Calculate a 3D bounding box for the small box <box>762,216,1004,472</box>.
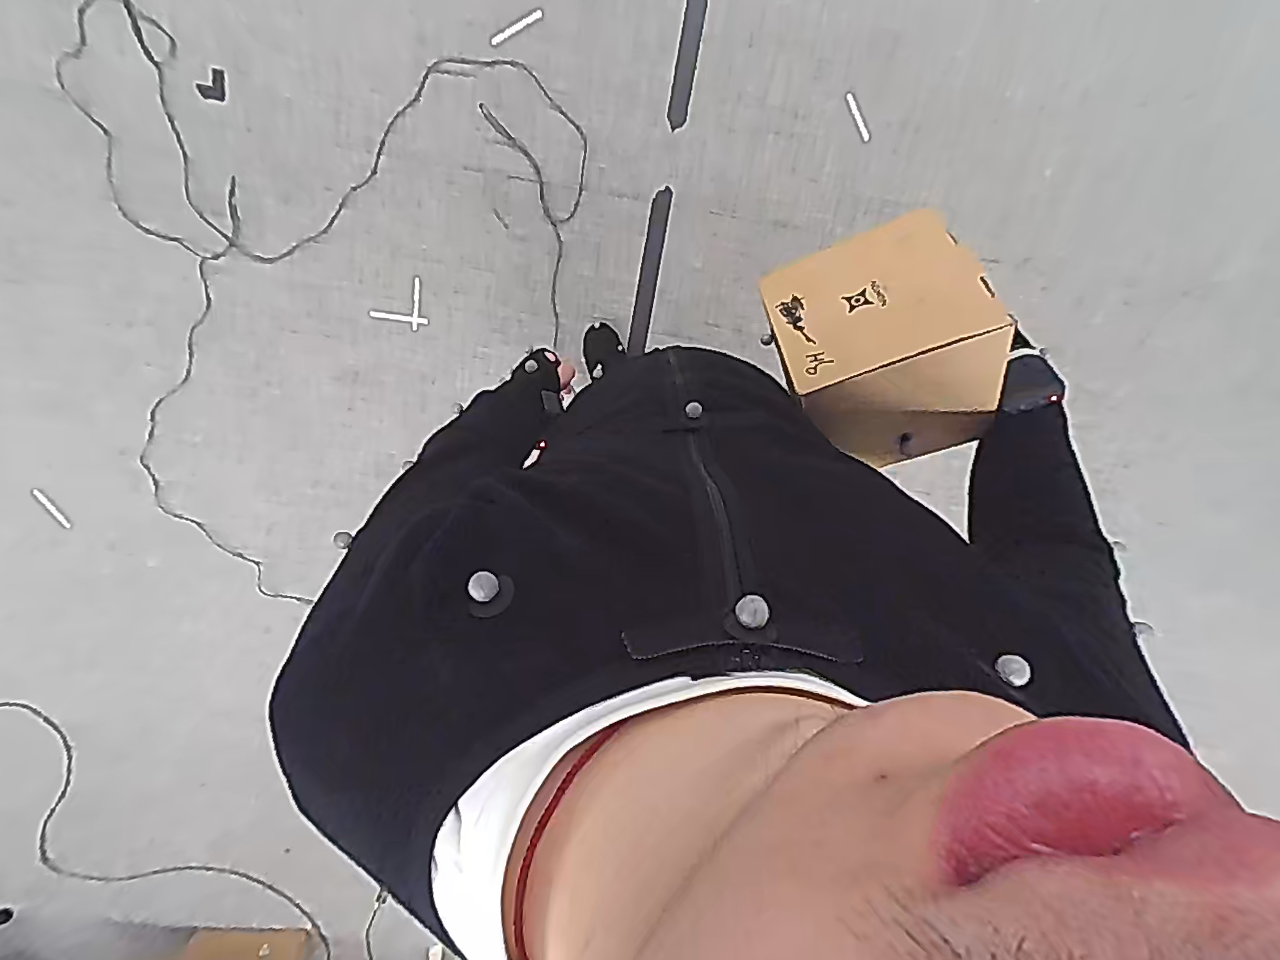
[{"bbox_3d":[0.246,-0.133,0.578,0.179,0.168,0.176,-18,145,16],"label":"small box"}]
